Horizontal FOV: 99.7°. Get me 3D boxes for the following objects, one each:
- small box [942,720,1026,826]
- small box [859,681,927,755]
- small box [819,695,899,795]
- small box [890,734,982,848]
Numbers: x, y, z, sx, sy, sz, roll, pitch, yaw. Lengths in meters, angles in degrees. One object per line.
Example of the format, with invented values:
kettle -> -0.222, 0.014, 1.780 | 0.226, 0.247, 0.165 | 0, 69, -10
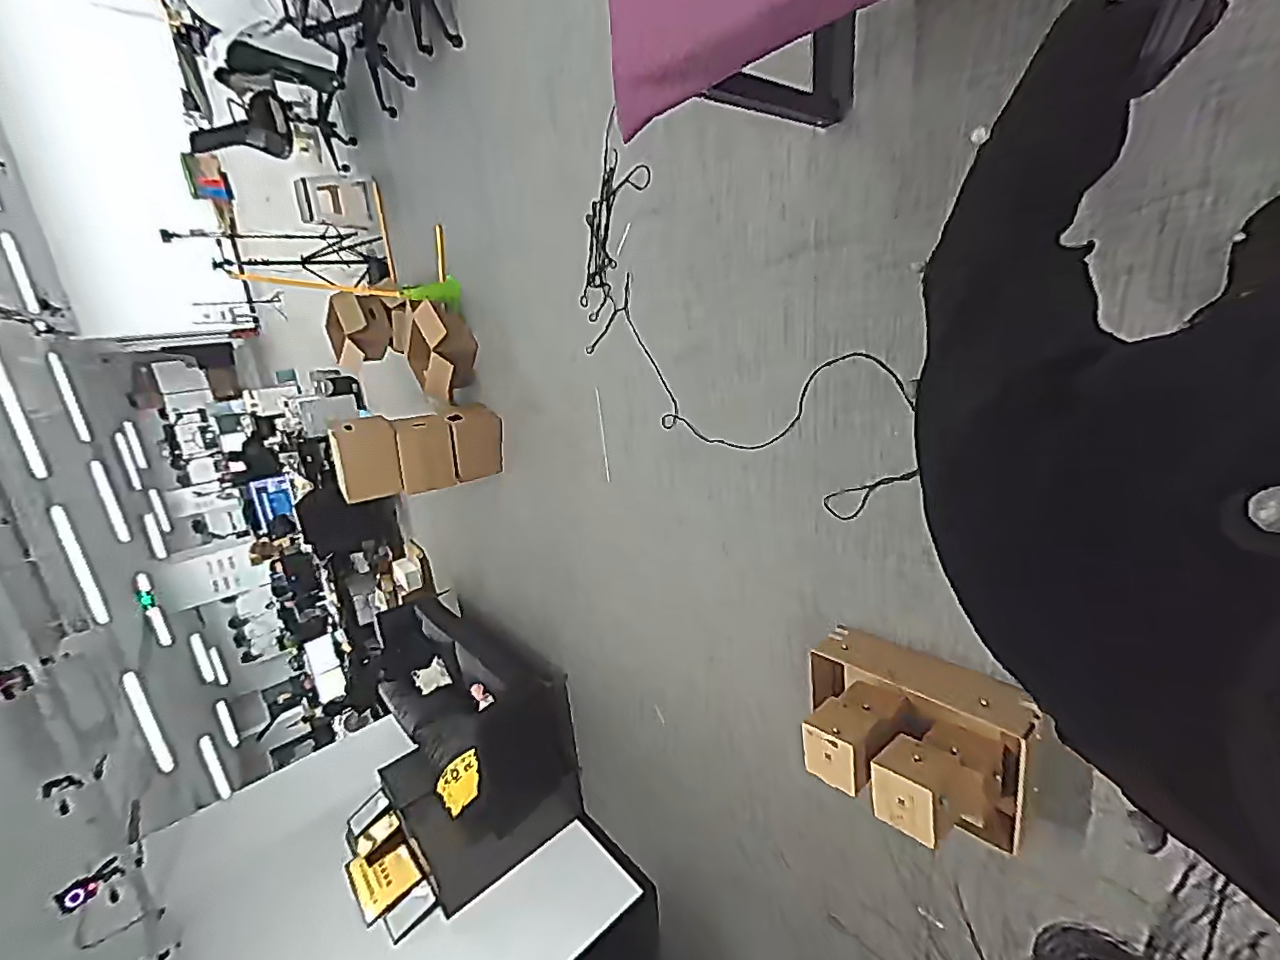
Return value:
small box -> 0.962, 0.814, 1.526 | 0.179, 0.176, 0.168 | 8, 109, 54
small box -> 0.797, 0.771, 1.727 | 0.179, 0.176, 0.168 | 1, 105, 52
small box -> 0.663, 0.789, 1.631 | 0.168, 0.176, 0.179 | 7, 110, 50
small box -> 0.803, 0.830, 1.466 | 0.168, 0.176, 0.179 | 5, 107, 54
